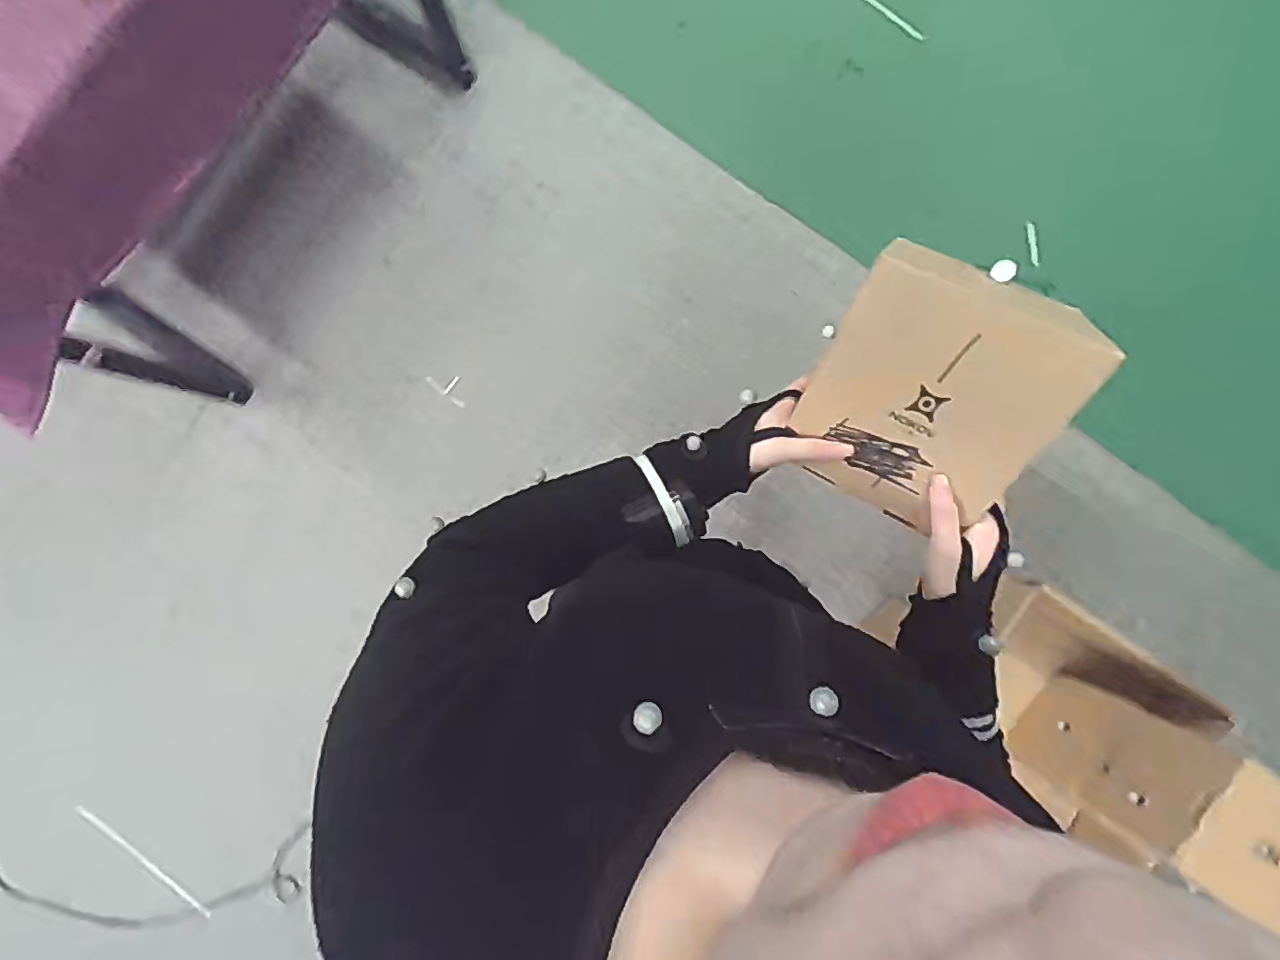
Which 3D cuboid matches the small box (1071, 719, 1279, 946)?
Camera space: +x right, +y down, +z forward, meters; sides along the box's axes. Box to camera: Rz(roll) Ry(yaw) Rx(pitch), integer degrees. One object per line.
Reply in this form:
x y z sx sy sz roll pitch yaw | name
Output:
0.767 0.465 0.751 0.179 0.176 0.168 37 89 1 | small box
